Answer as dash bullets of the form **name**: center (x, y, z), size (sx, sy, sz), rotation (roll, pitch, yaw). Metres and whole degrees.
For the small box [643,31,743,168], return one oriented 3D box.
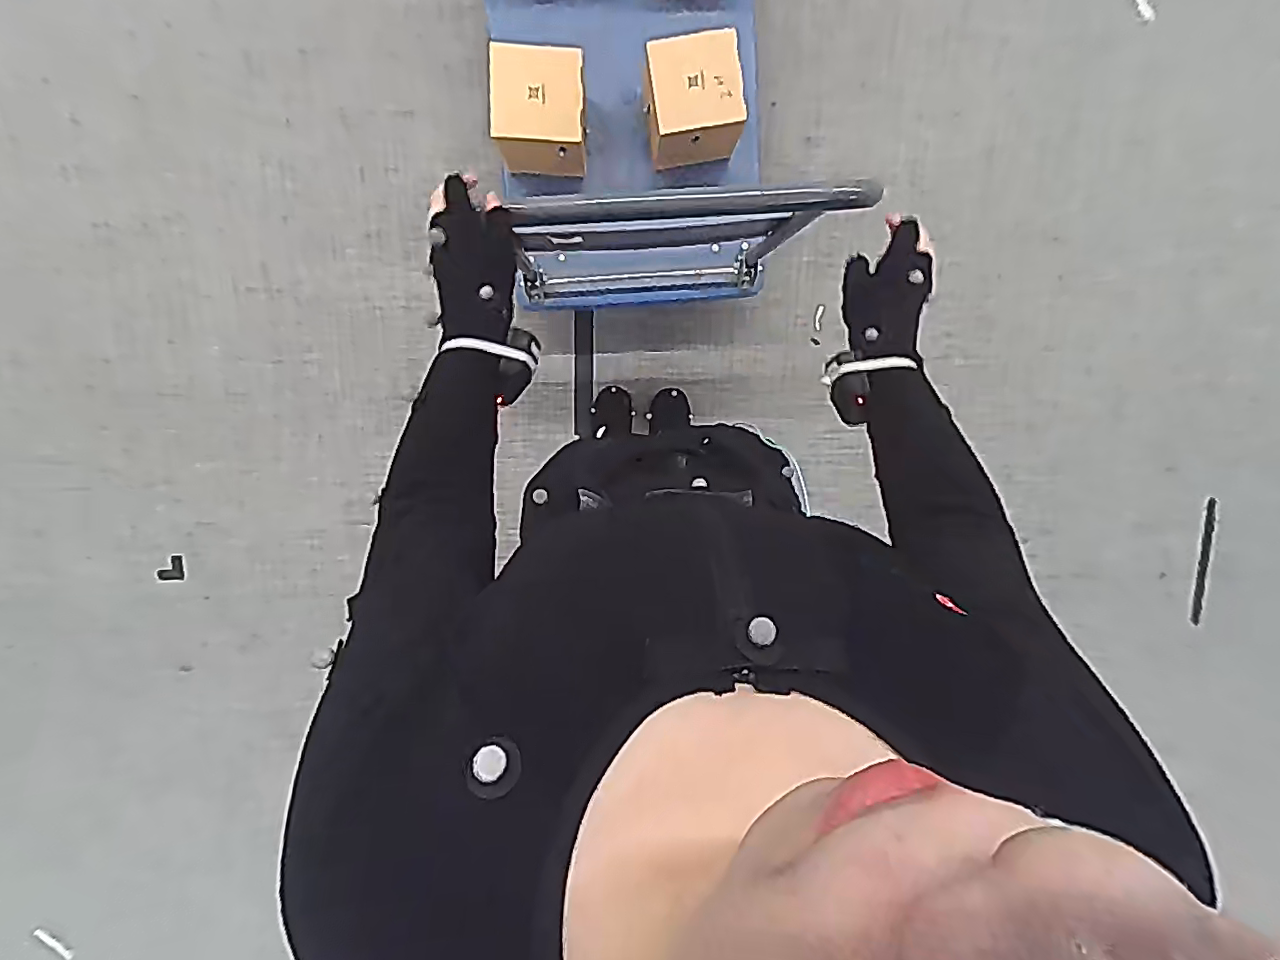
- **small box**: center (0.102, -0.771, 1.116), size (0.179, 0.176, 0.168), rotation (-10, 99, -1)

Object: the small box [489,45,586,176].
- **small box**: center (-0.203, -0.744, 1.107), size (0.179, 0.176, 0.168), rotation (1, 99, -4)
